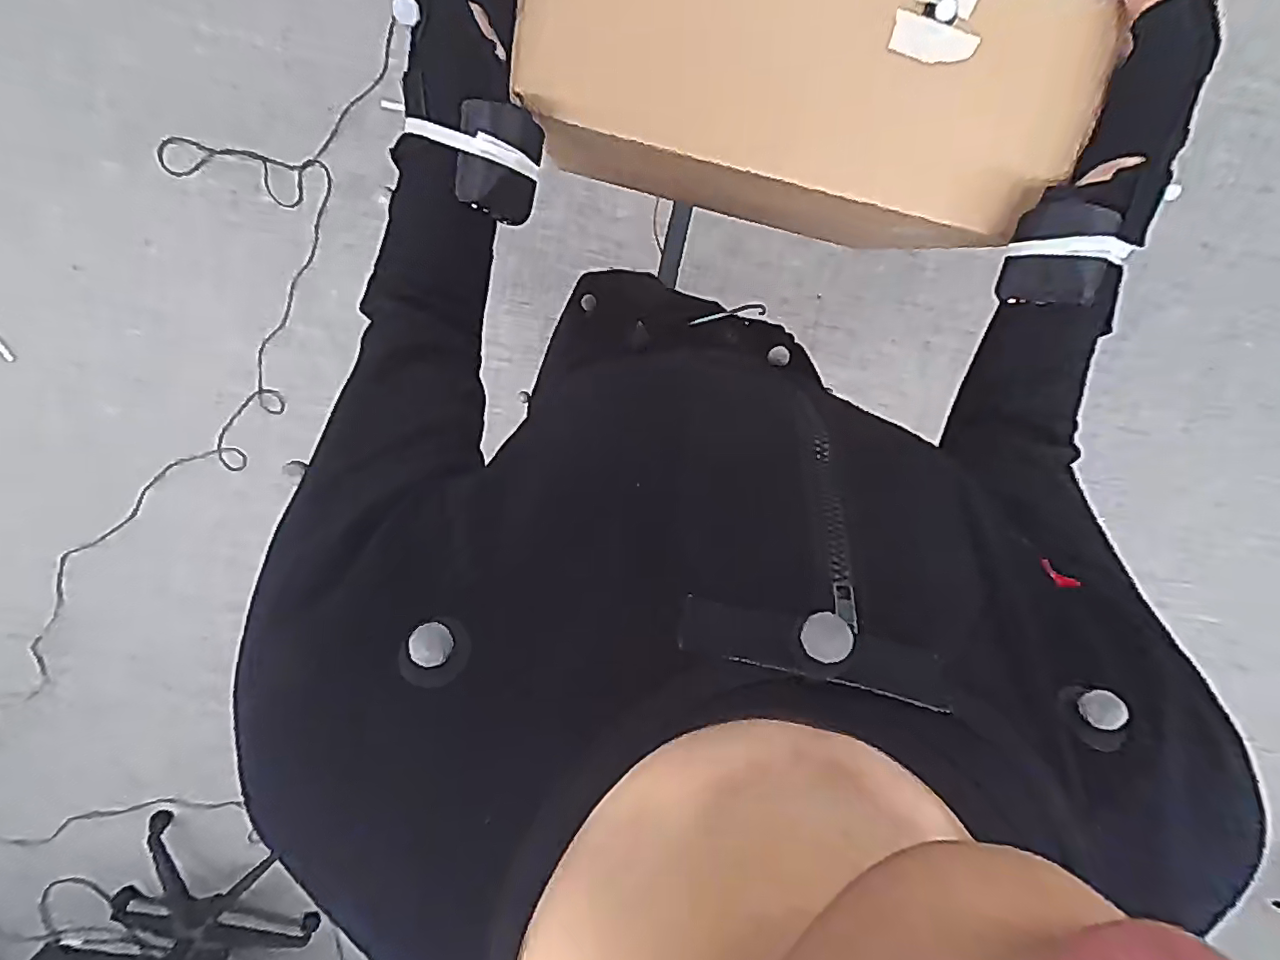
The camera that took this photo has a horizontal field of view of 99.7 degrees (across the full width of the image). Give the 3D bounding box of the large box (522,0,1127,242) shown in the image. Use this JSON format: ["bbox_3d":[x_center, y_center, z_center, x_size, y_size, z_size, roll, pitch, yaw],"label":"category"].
[{"bbox_3d":[0.130,-0.419,0.481,0.408,0.320,0.320,10,113,-8],"label":"large box"}]
